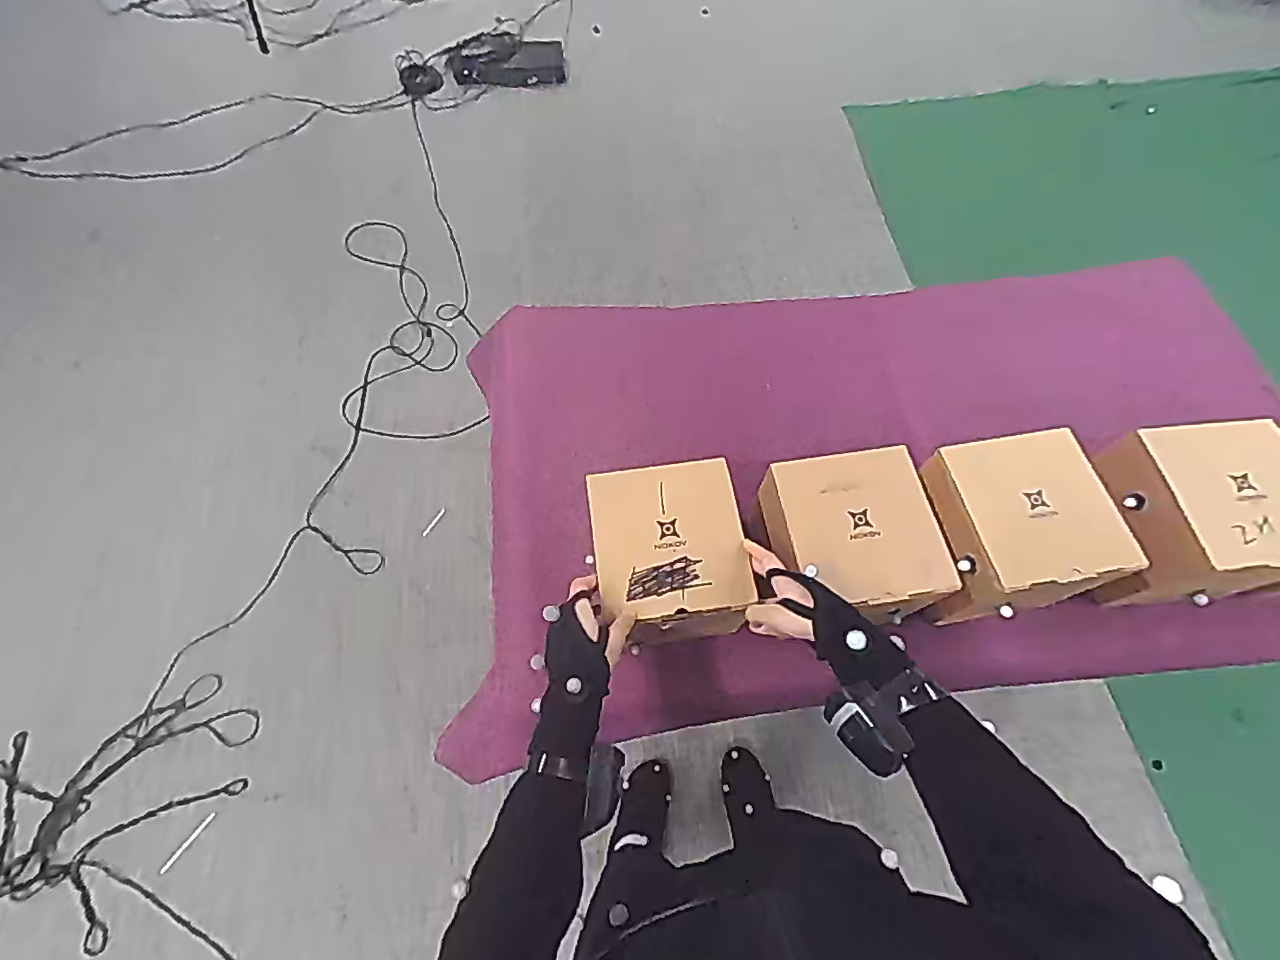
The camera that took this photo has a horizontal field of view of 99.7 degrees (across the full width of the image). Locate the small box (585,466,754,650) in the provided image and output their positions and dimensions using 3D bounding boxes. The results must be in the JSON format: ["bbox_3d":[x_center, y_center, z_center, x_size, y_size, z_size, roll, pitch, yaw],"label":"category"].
[{"bbox_3d":[0.029,0.104,0.657,0.168,0.176,0.179,-7,65,-3],"label":"small box"}]
